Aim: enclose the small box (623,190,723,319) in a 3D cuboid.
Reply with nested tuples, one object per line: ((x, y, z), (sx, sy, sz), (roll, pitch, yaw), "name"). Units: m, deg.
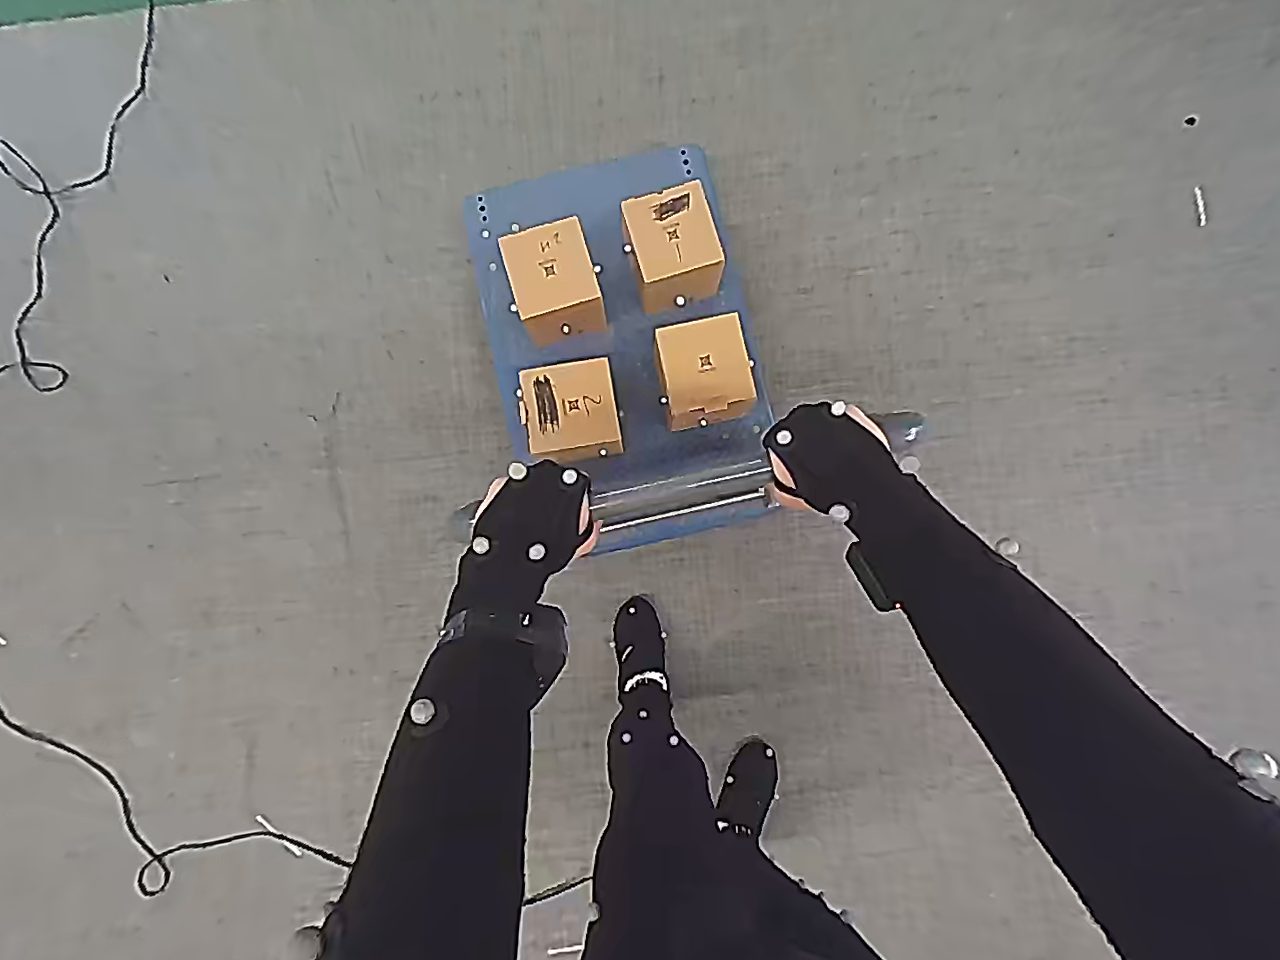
((0.066, -0.474, 1.159), (0.168, 0.176, 0.179), (-16, 86, 0), "small box")

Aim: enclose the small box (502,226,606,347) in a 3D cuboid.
((-0.175, -0.400, 1.155), (0.168, 0.176, 0.179), (-17, 85, -1), "small box")

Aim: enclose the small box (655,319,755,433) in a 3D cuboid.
((0.127, -0.211, 1.136), (0.168, 0.176, 0.179), (-12, 85, -1), "small box")
